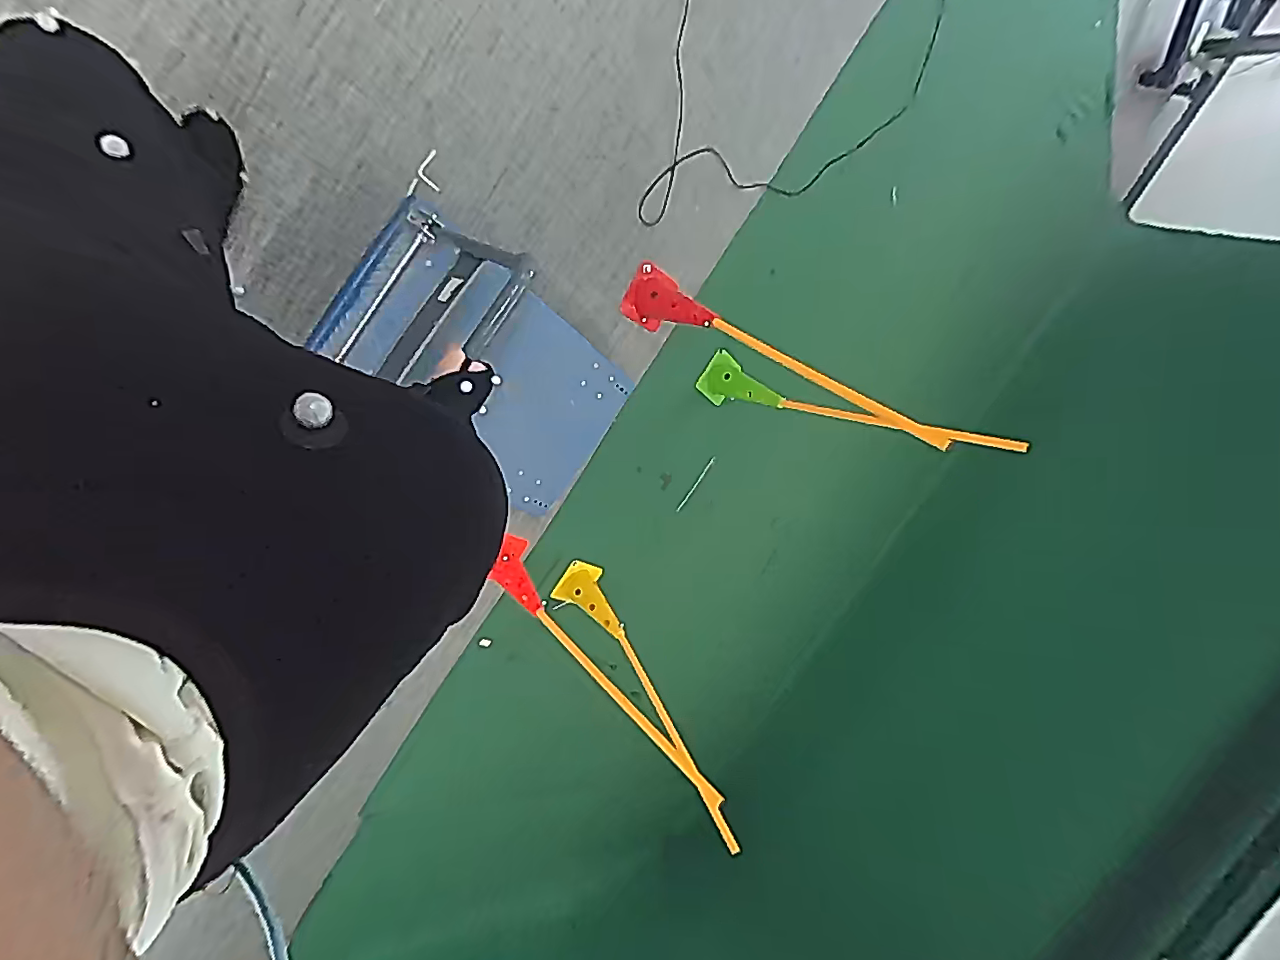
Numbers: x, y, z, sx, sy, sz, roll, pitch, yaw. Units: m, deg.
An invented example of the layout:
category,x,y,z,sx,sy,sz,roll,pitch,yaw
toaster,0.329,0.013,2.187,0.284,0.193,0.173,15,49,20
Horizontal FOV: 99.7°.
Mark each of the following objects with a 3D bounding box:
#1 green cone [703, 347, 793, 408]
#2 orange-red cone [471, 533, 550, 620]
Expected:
category,x,y,z,sx,sy,sz,roll,pitch,yaw
green cone,0.466,-0.372,2.207,0.202,0.368,0.200,28,96,-47
orange-red cone,-0.420,0.375,1.940,0.199,0.360,0.198,28,97,-48
